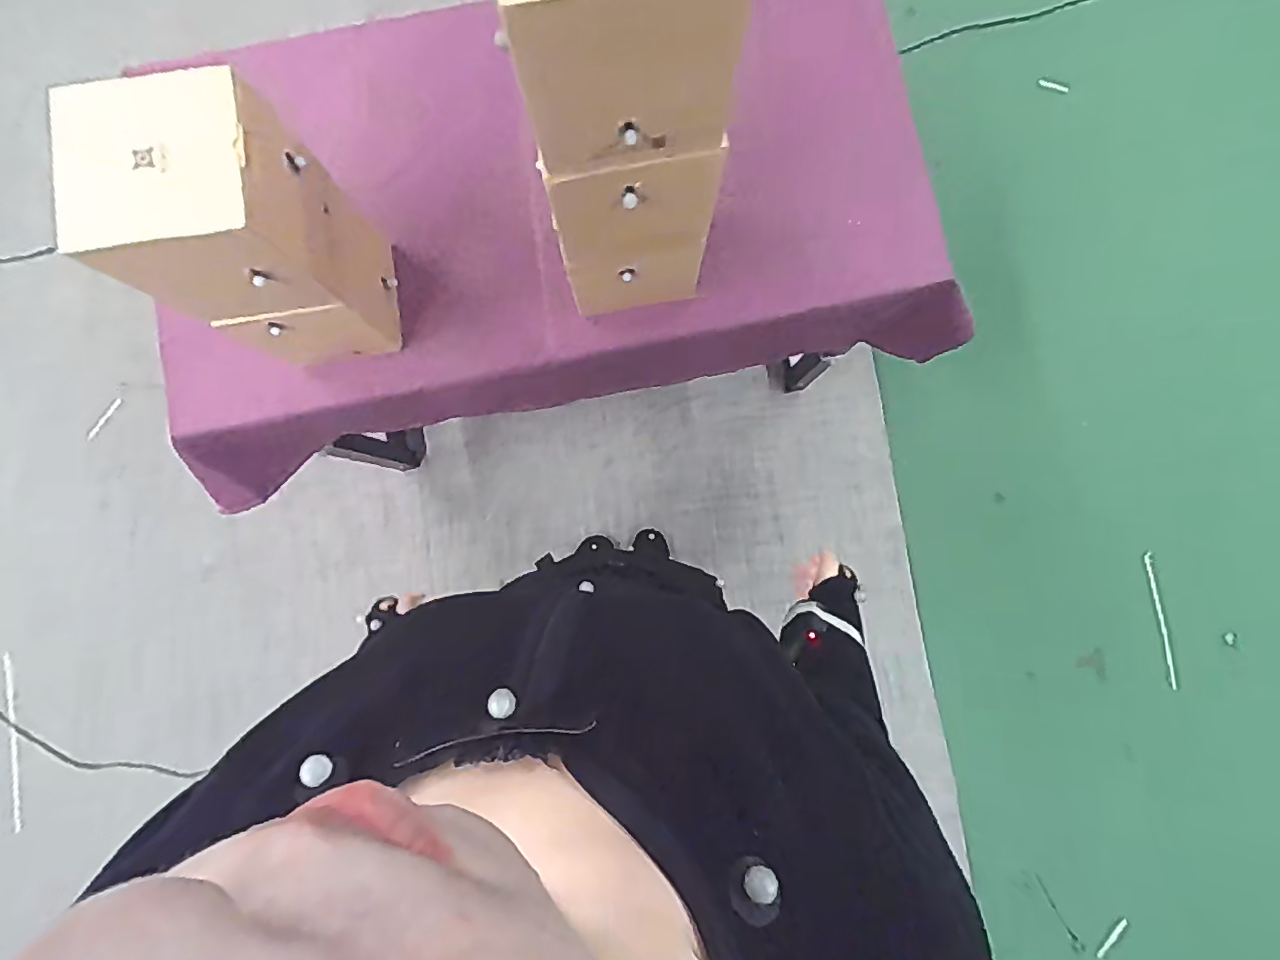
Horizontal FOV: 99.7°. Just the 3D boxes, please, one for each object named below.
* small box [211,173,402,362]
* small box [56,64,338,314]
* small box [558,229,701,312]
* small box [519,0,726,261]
[{"bbox_3d":[-0.450,-0.281,0.745,0.168,0.176,0.179,-9,85,0],"label":"small box"},{"bbox_3d":[-0.451,-0.294,0.581,0.179,0.176,0.168,-7,85,0],"label":"small box"},{"bbox_3d":[-0.020,-0.349,0.748,0.179,0.176,0.168,-9,85,-1],"label":"small box"},{"bbox_3d":[-0.017,-0.363,0.586,0.179,0.176,0.168,-10,86,1],"label":"small box"}]
